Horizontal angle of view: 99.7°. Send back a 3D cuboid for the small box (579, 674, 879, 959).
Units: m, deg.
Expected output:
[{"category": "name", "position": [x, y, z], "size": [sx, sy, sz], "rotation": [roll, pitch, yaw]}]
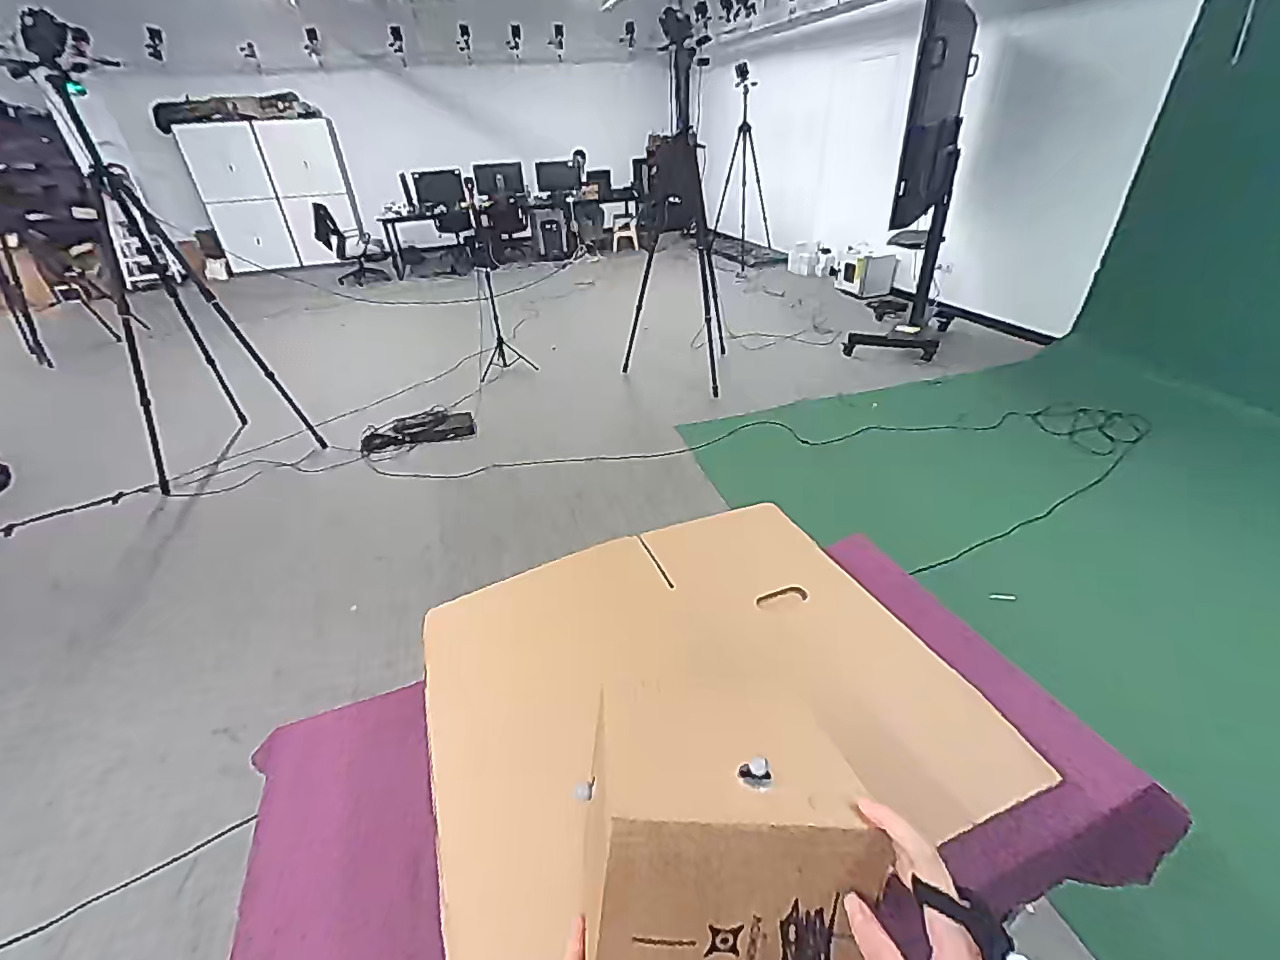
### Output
[{"category": "small box", "position": [0.048, 0.268, 0.418], "size": [0.179, 0.168, 0.176], "rotation": [5, 9, -6]}]
